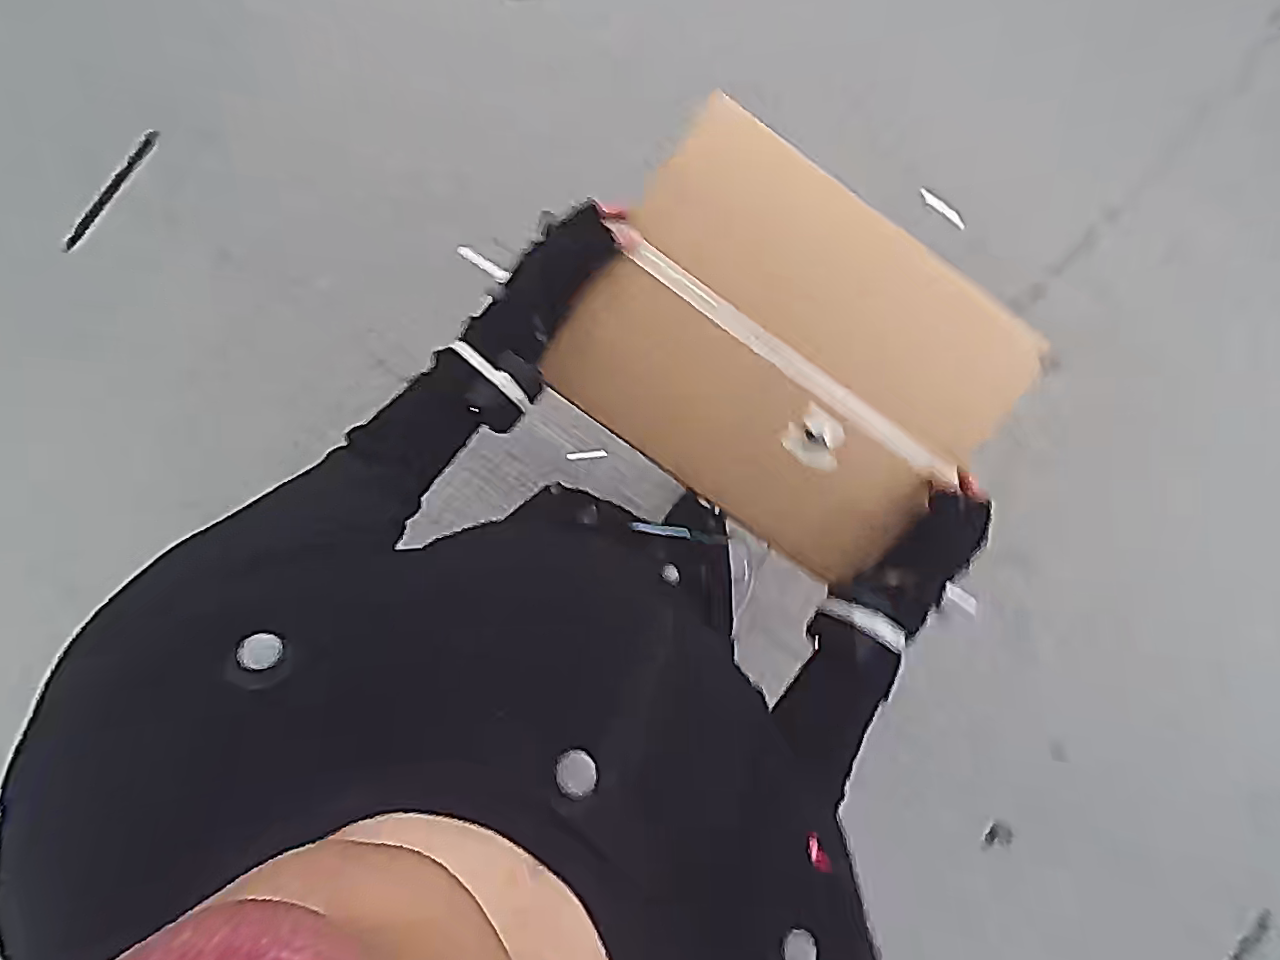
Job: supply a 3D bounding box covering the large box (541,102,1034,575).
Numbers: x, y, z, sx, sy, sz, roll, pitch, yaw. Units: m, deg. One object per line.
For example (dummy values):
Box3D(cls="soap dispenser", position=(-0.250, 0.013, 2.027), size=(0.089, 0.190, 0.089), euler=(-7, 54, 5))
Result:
Box3D(cls="large box", position=(0.146, -0.150, 0.689), size=(0.408, 0.320, 0.320), euler=(35, 98, -4))
